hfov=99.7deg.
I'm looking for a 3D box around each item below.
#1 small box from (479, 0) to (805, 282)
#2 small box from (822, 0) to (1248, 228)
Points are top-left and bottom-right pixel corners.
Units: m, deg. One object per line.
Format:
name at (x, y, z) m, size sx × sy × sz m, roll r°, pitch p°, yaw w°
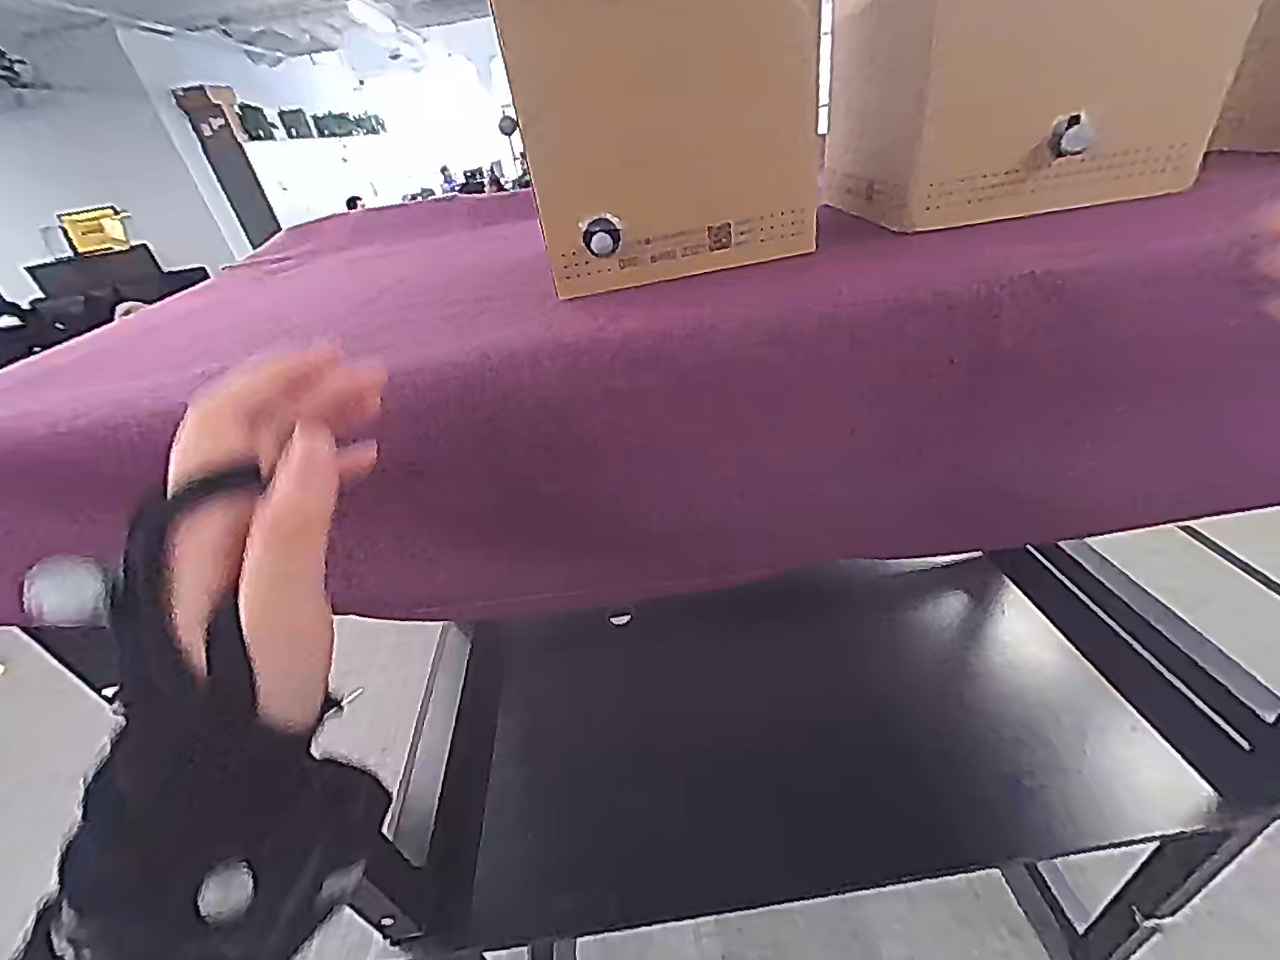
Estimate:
small box at (0.002, -0.239, 0.354) m, size 0.168 × 0.176 × 0.179 m, roll -12°, pitch 33°, yaw -3°
small box at (0.231, -0.276, 0.351) m, size 0.179 × 0.176 × 0.168 m, roll -8°, pitch 33°, yaw 2°
